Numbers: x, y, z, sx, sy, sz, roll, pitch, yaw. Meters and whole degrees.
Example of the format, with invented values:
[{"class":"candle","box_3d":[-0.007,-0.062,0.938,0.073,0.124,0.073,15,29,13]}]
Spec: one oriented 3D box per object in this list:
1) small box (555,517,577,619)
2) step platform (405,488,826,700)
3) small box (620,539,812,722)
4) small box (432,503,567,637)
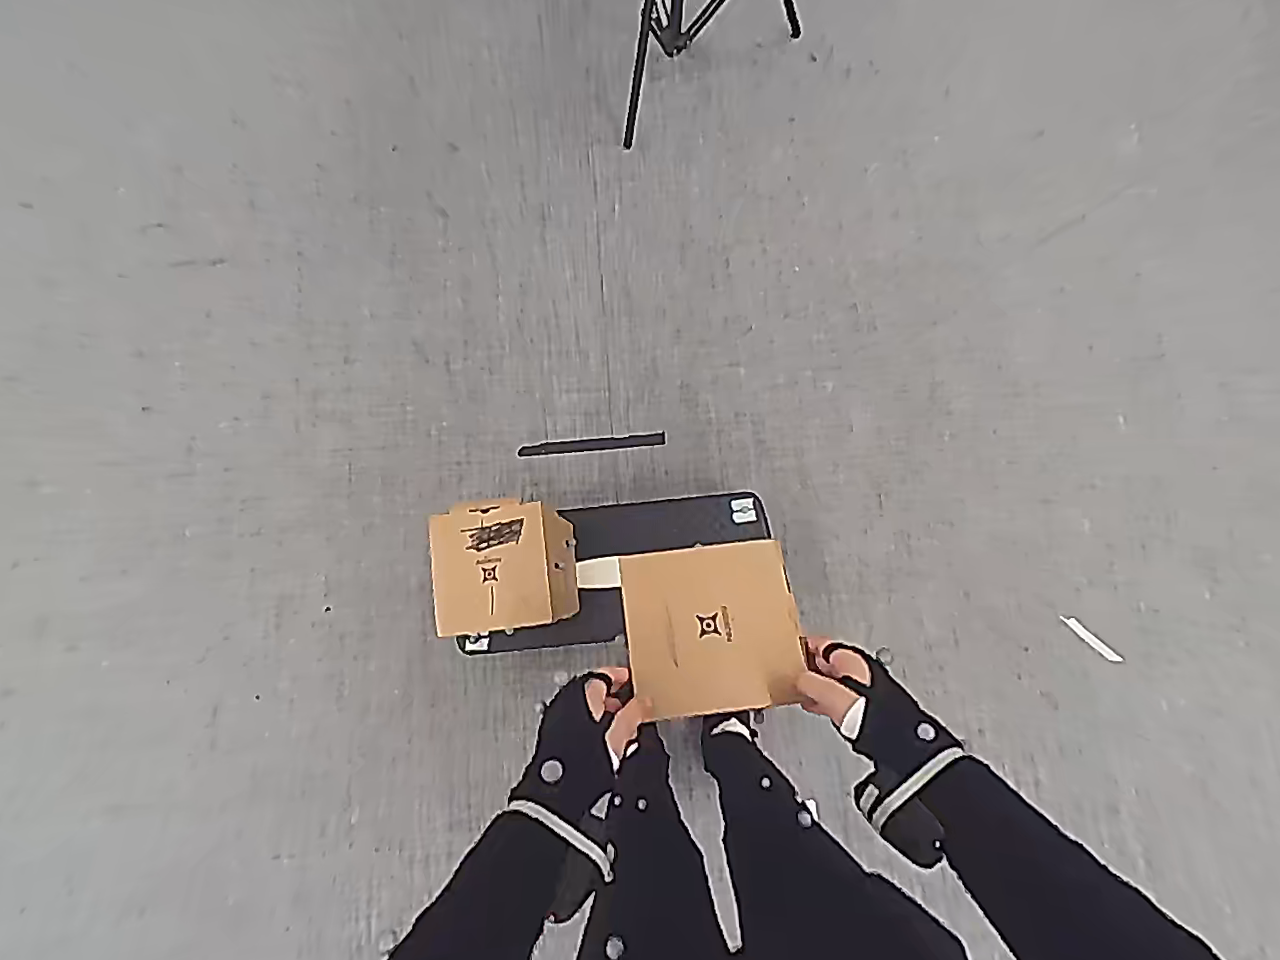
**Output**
[{"class":"small box","box_3d":[-0.210,0.170,1.007,0.168,0.176,0.179,-6,81,-1]},{"class":"step platform","box_3d":[-0.042,0.196,0.968,0.684,0.204,0.286,-6,81,-2]},{"class":"small box","box_3d":[0.074,0.178,0.624,0.179,0.176,0.168,-7,67,-2]},{"class":"small box","box_3d":[-0.212,0.139,0.846,0.168,0.176,0.179,-7,81,-1]}]
